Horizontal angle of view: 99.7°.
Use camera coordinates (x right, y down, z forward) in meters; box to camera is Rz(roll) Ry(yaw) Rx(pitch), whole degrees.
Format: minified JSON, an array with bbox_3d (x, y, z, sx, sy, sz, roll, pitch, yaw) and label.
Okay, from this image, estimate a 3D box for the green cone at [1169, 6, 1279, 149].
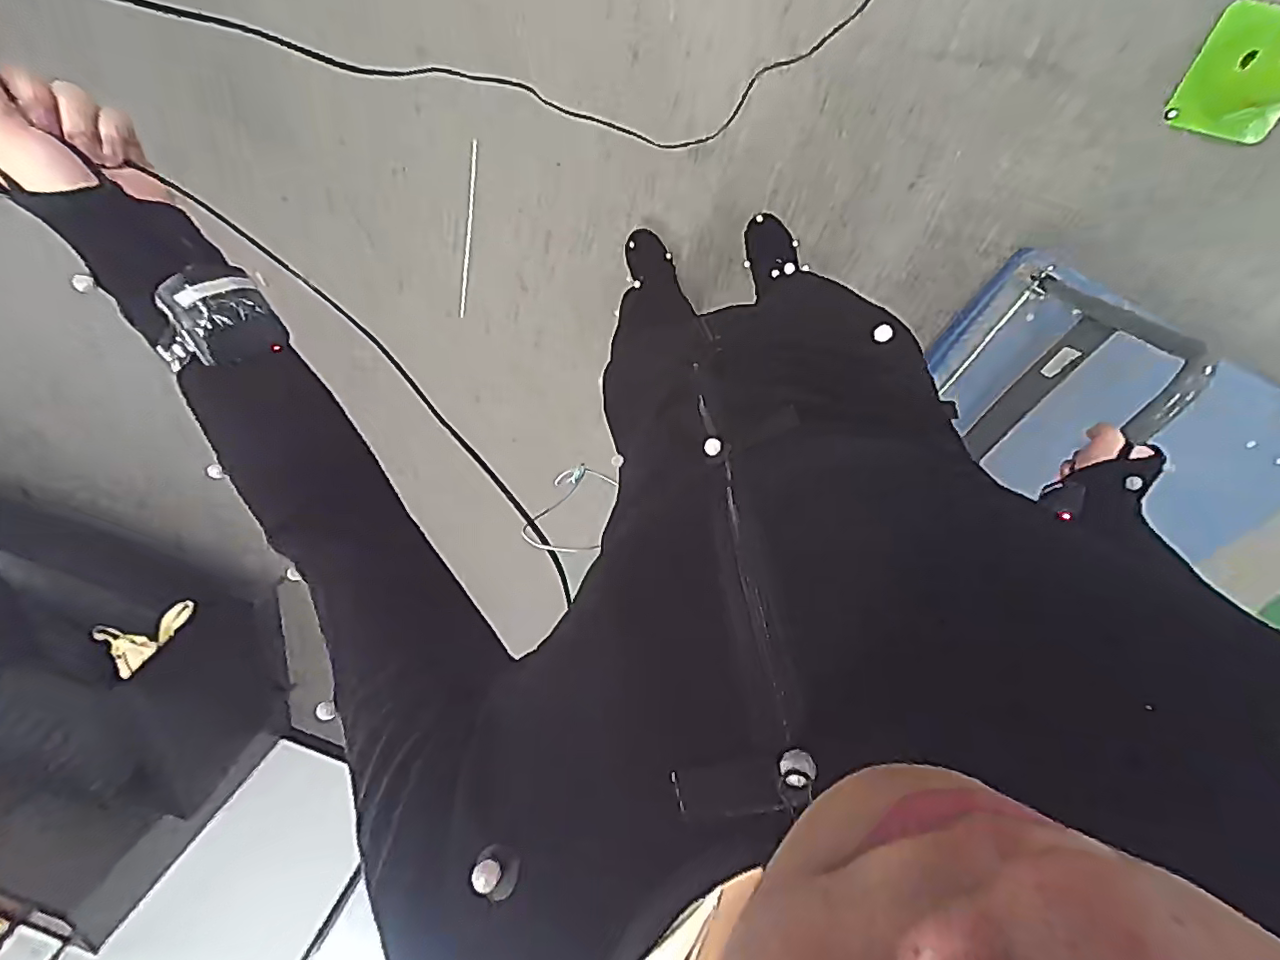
[{"bbox_3d":[1.135,-0.687,0.888,0.200,0.368,0.202,17,120,5],"label":"green cone"}]
